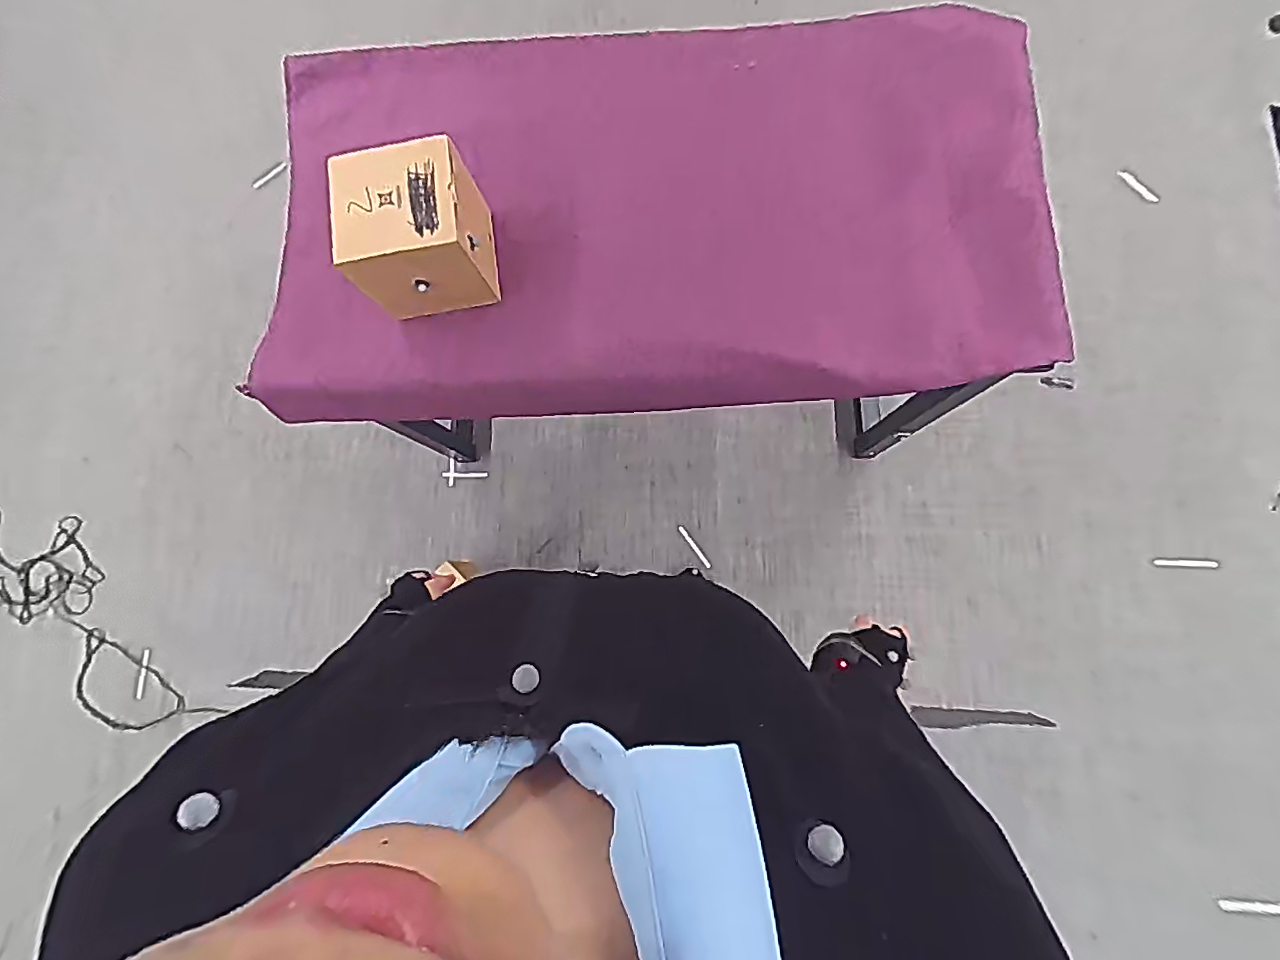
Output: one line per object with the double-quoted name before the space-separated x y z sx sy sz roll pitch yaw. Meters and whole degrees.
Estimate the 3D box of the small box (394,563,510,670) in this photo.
"small box" -0.430 0.314 1.278 0.168 0.176 0.179 44 85 10
